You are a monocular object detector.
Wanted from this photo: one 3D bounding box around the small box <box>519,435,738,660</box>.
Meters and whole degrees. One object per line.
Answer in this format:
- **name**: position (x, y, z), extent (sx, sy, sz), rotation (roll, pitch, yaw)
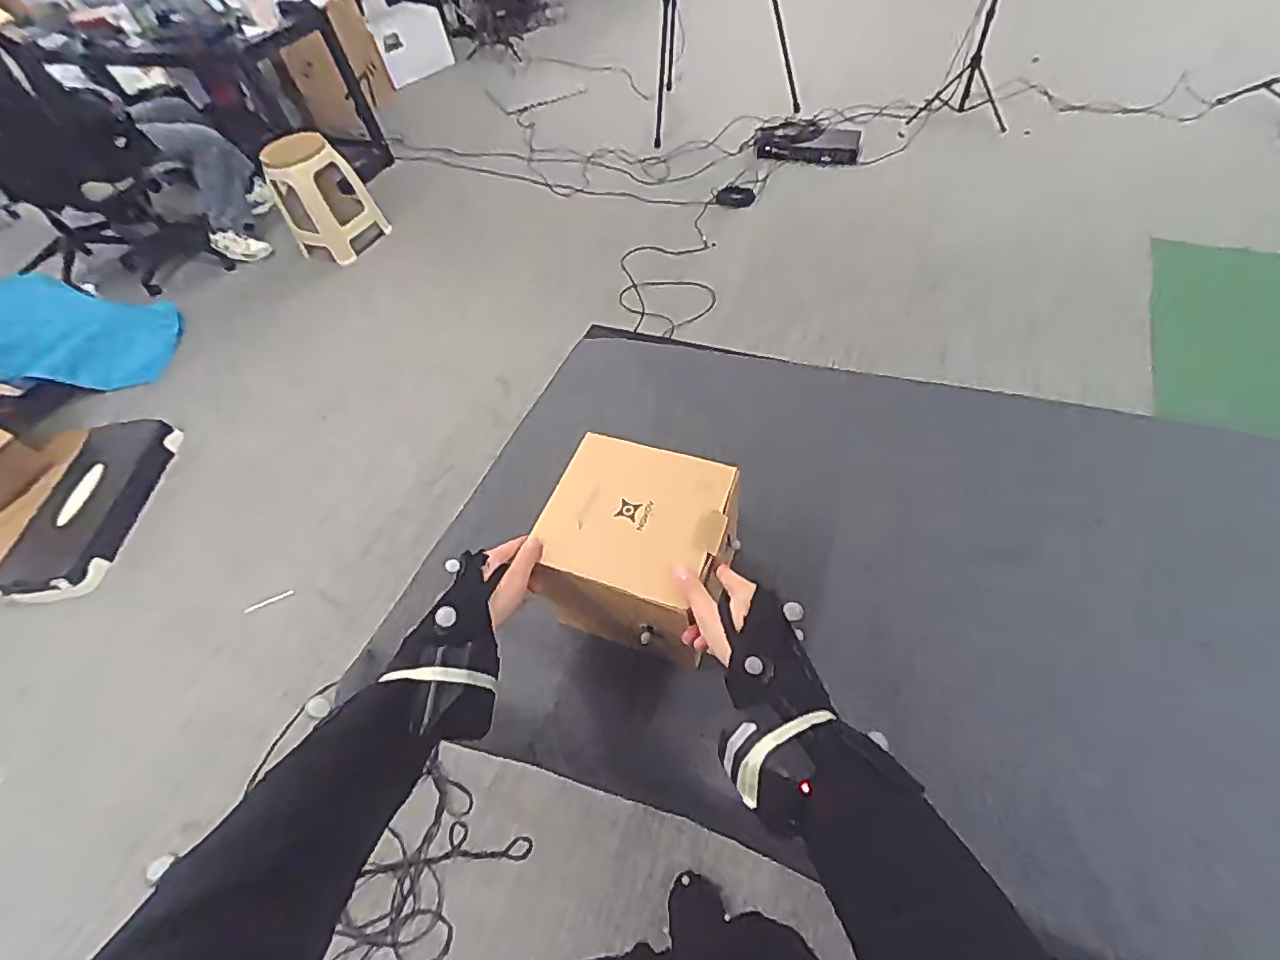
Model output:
- **small box**: position (0.001, 0.079, 0.594), extent (0.179, 0.176, 0.168), rotation (13, 55, 17)
